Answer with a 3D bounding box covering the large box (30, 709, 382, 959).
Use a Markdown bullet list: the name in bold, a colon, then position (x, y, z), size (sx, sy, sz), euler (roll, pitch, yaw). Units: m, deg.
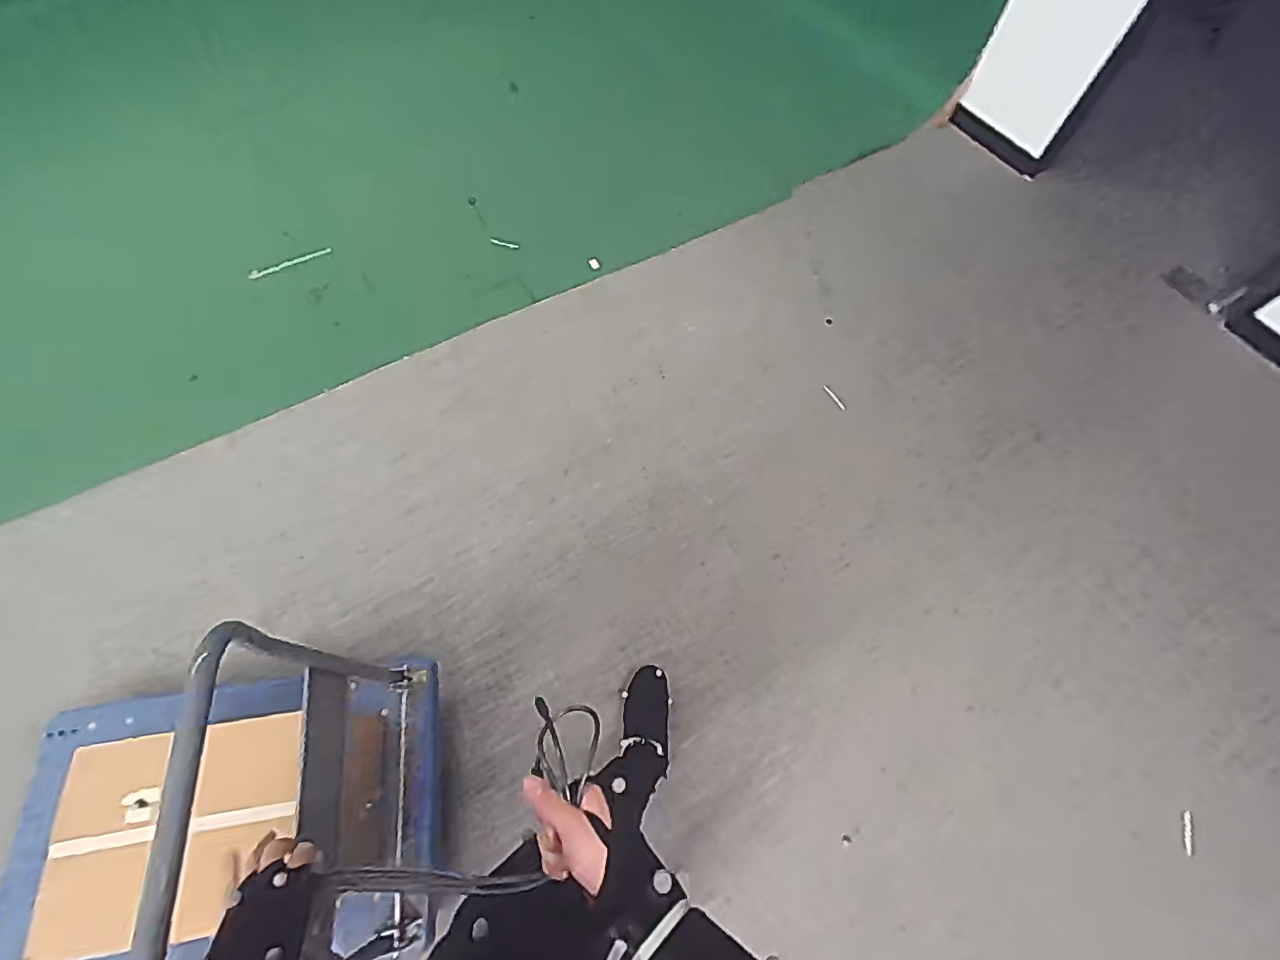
- **large box**: position (-0.757, 0.638, 1.030), size (0.408, 0.320, 0.320), euler (-8, 65, -3)
